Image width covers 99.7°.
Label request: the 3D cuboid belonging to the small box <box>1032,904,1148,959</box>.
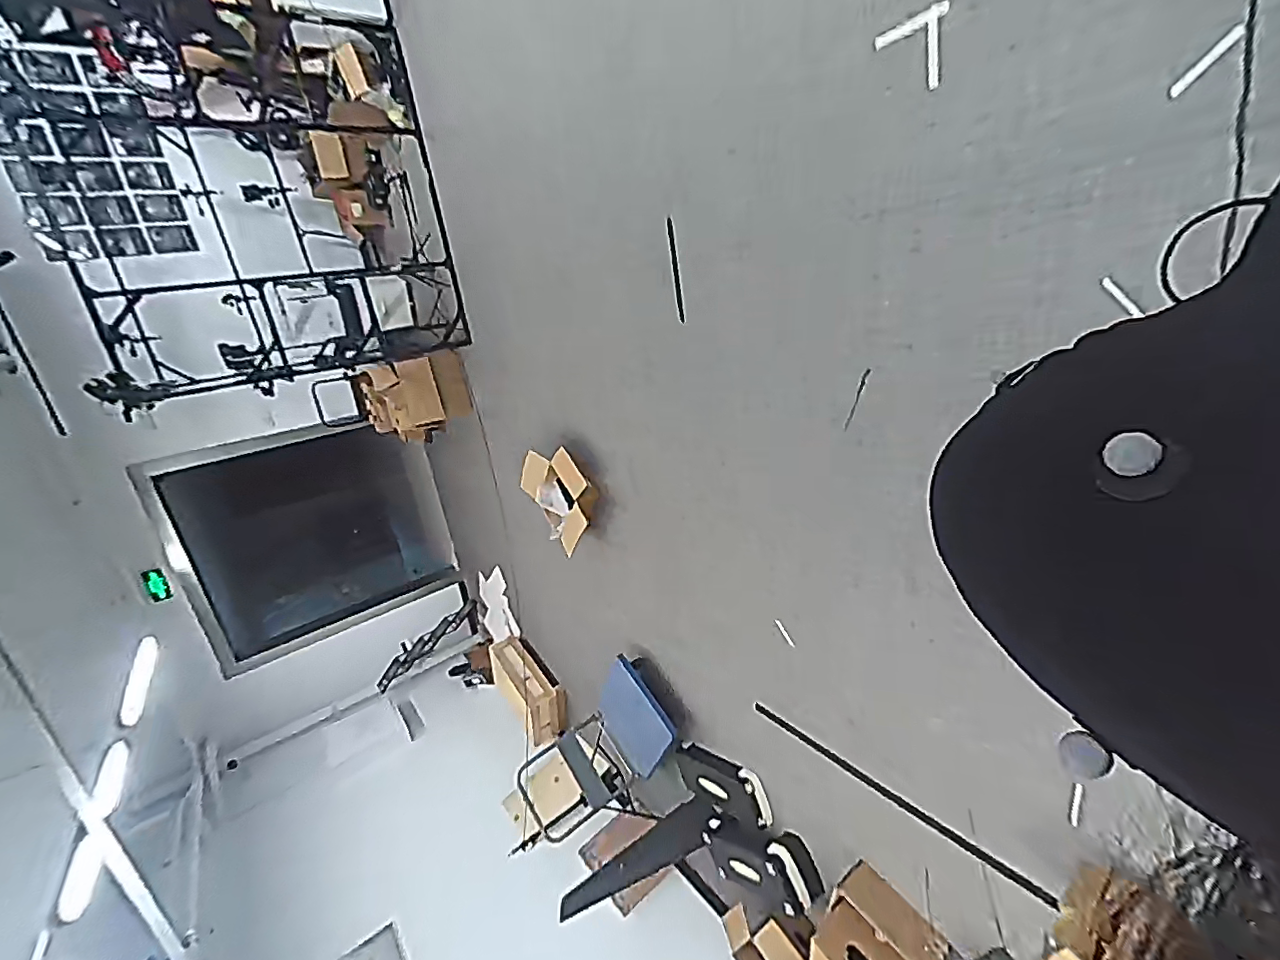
[{"bbox_3d":[1.133,1.216,1.351,0.168,0.176,0.179,43,140,38],"label":"small box"}]

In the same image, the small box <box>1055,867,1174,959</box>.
[{"bbox_3d":[1.267,1.178,1.438,0.179,0.176,0.168,-36,76,57],"label":"small box"}]
